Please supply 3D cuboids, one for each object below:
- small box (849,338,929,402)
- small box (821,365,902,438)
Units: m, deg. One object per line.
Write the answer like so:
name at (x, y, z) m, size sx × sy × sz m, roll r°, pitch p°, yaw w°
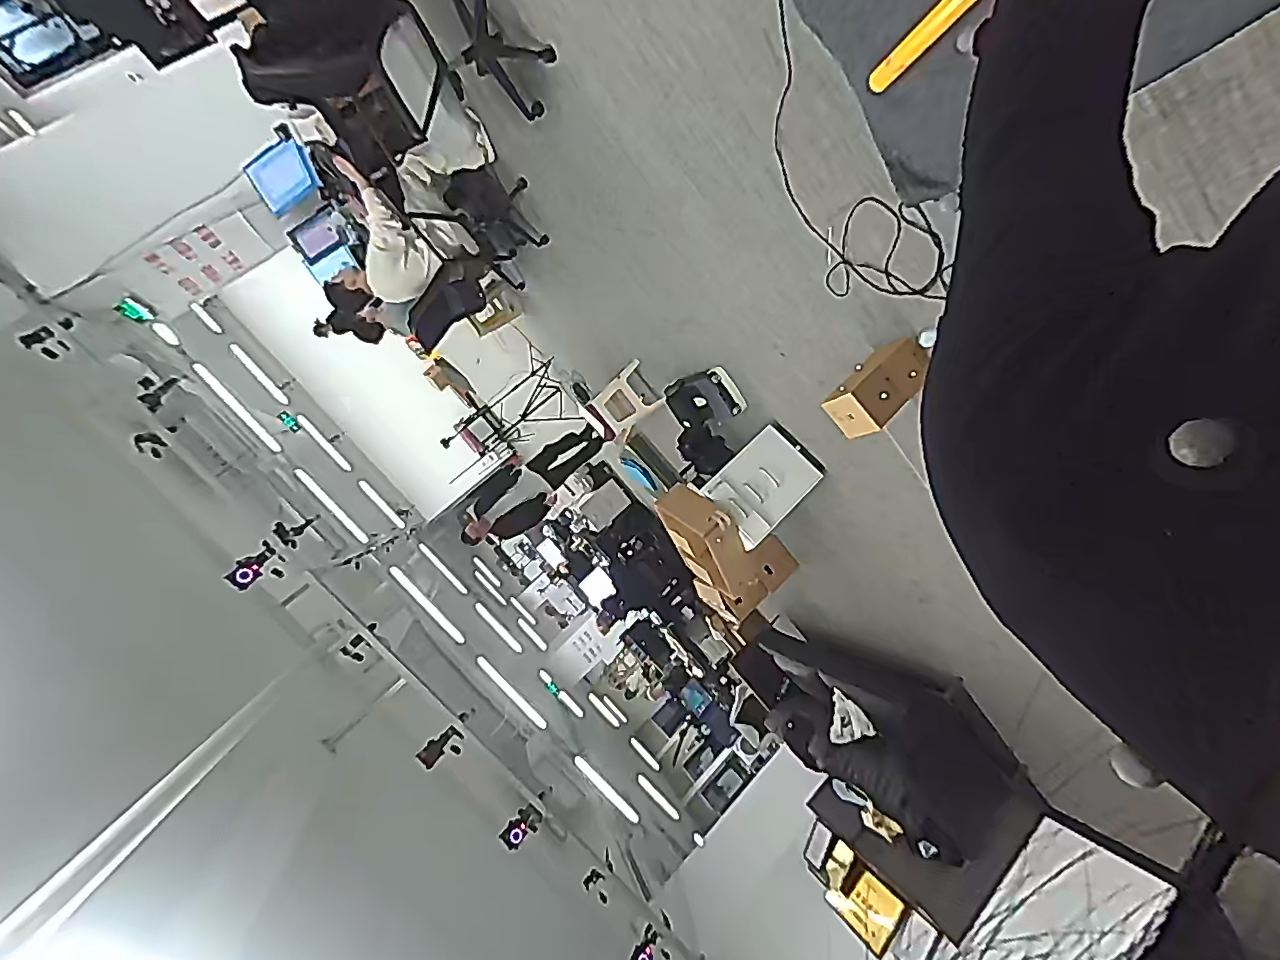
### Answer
small box at (0.897, -0.379, 1.934) m, size 0.168 × 0.176 × 0.179 m, roll 49°, pitch 166°, yaw -7°
small box at (0.779, -0.274, 1.884) m, size 0.168 × 0.176 × 0.179 m, roll 49°, pitch 166°, yaw -5°
